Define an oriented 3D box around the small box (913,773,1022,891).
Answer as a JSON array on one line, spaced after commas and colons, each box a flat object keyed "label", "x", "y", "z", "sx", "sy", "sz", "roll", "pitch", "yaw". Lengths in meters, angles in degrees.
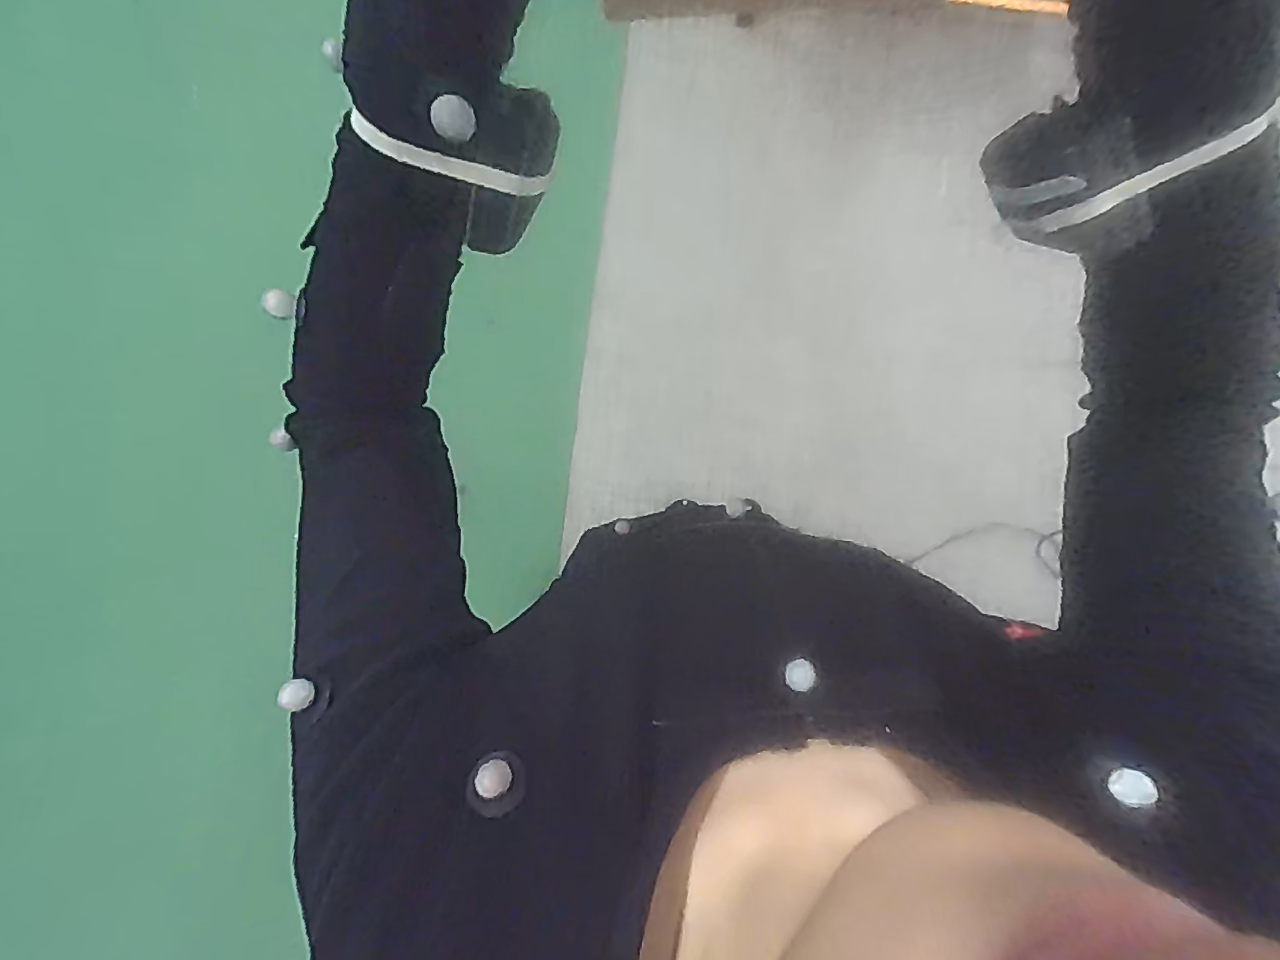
[{"label": "small box", "x": 0.793, "y": 0.854, "z": 1.325, "sx": 0.168, "sy": 0.176, "sz": 0.179, "roll": 7, "pitch": 83, "yaw": 0}]
